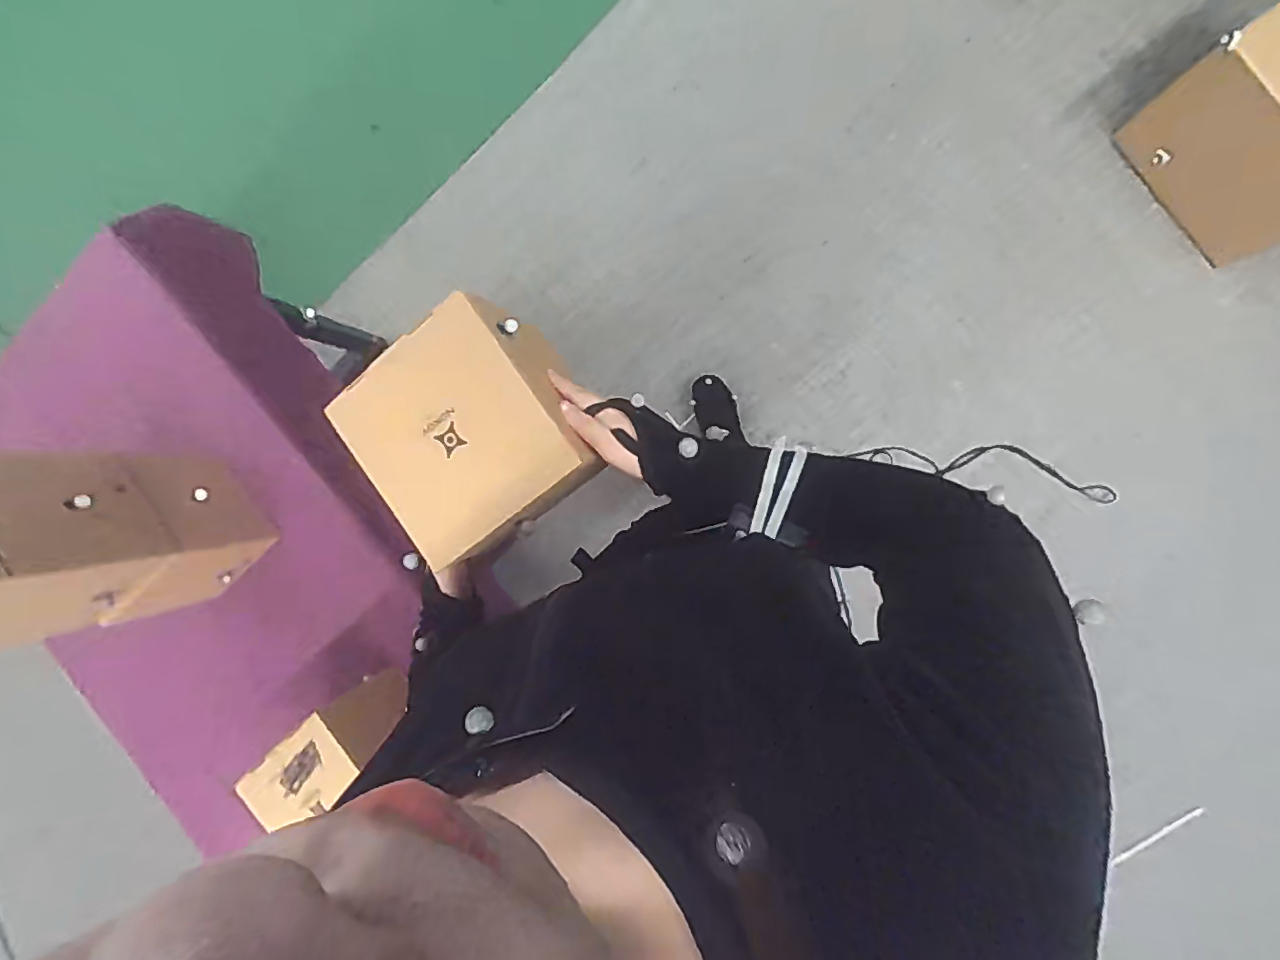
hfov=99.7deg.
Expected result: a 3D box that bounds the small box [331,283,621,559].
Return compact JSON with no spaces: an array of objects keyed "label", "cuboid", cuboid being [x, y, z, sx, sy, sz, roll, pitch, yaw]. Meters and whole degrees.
[{"label":"small box","cuboid":[-0.140,-0.054,0.526,0.168,0.176,0.179,-35,88,12]}]

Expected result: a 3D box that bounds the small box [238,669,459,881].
[{"label":"small box","cuboid":[-0.397,0.394,0.764,0.168,0.176,0.179,-41,86,9]}]

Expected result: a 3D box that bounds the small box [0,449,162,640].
[{"label":"small box","cuboid":[-0.726,0.073,0.639,0.179,0.176,0.168,-36,86,8]}]
